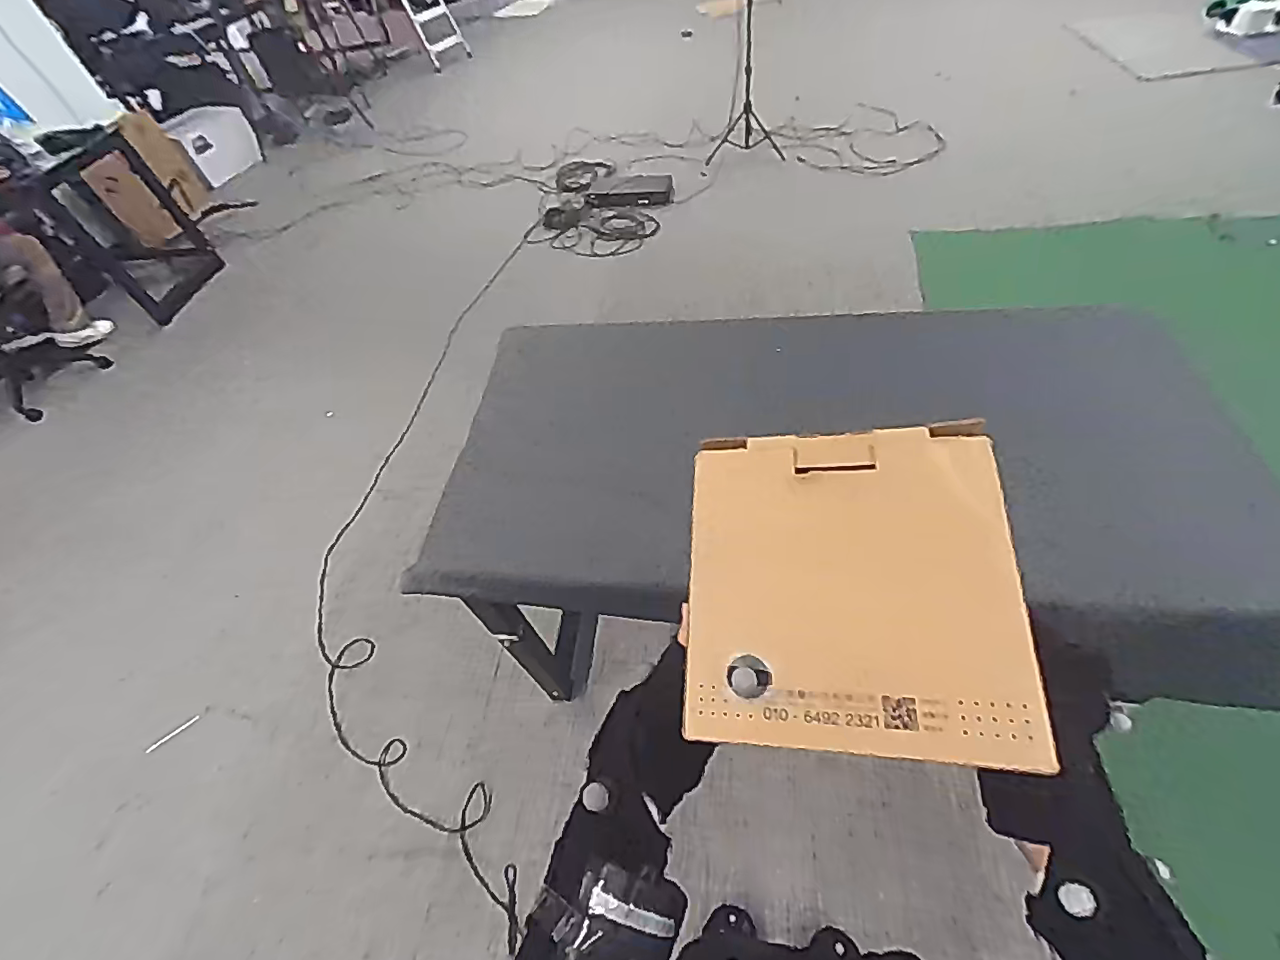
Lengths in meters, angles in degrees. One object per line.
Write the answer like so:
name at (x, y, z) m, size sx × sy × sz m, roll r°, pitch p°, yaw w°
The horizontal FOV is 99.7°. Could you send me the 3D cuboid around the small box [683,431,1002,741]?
small box at (0.126, 0.084, 0.379) m, size 0.168 × 0.179 × 0.176 m, roll -2°, pitch 65°, yaw 16°
